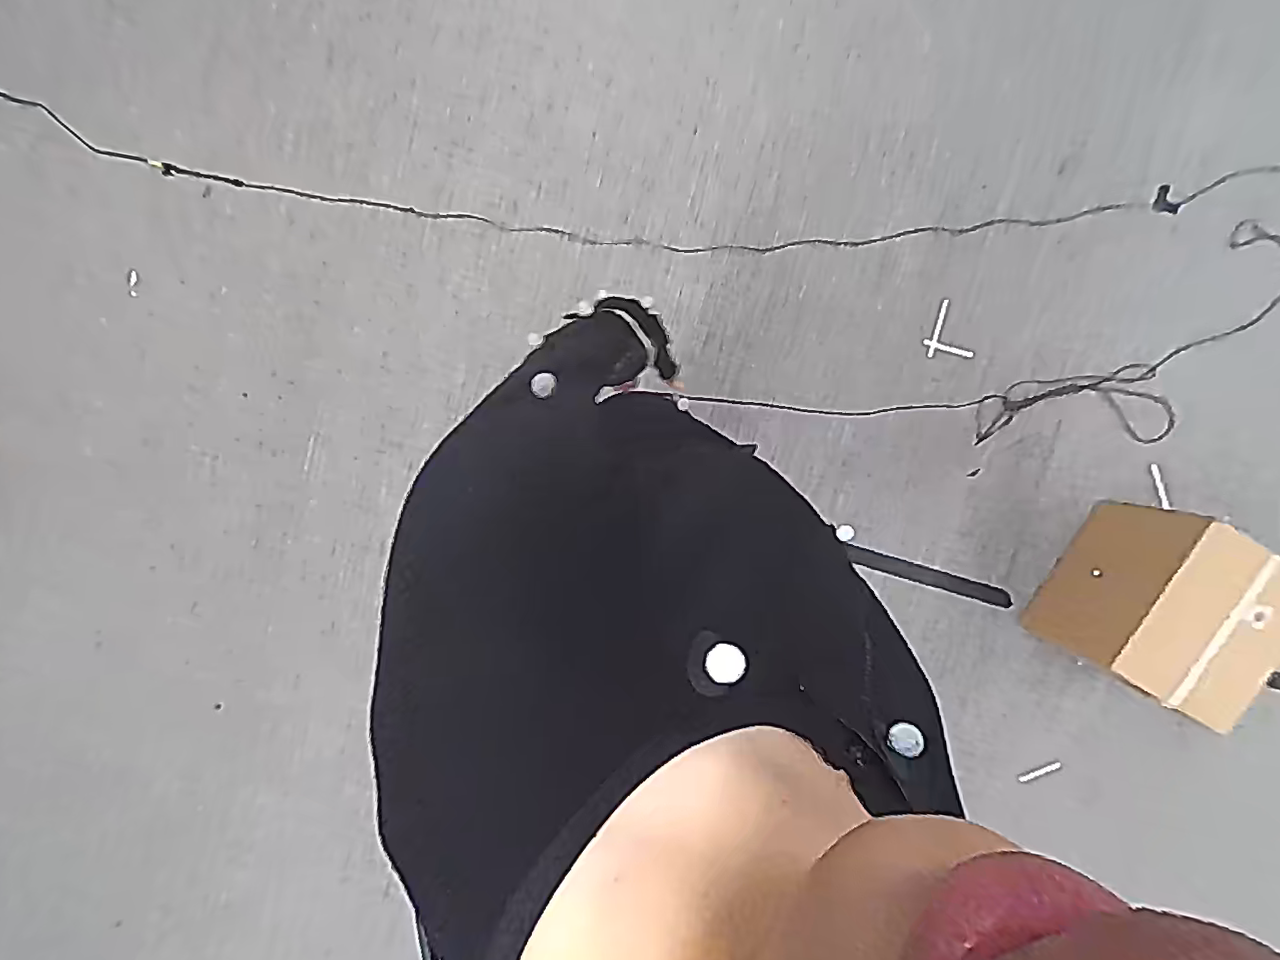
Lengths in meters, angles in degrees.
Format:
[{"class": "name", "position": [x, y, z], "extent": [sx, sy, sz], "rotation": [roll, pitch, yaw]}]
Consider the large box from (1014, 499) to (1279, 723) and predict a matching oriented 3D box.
[{"class": "large box", "position": [1.270, 0.304, 1.365], "extent": [0.320, 0.320, 0.408], "rotation": [30, 93, -2]}]
